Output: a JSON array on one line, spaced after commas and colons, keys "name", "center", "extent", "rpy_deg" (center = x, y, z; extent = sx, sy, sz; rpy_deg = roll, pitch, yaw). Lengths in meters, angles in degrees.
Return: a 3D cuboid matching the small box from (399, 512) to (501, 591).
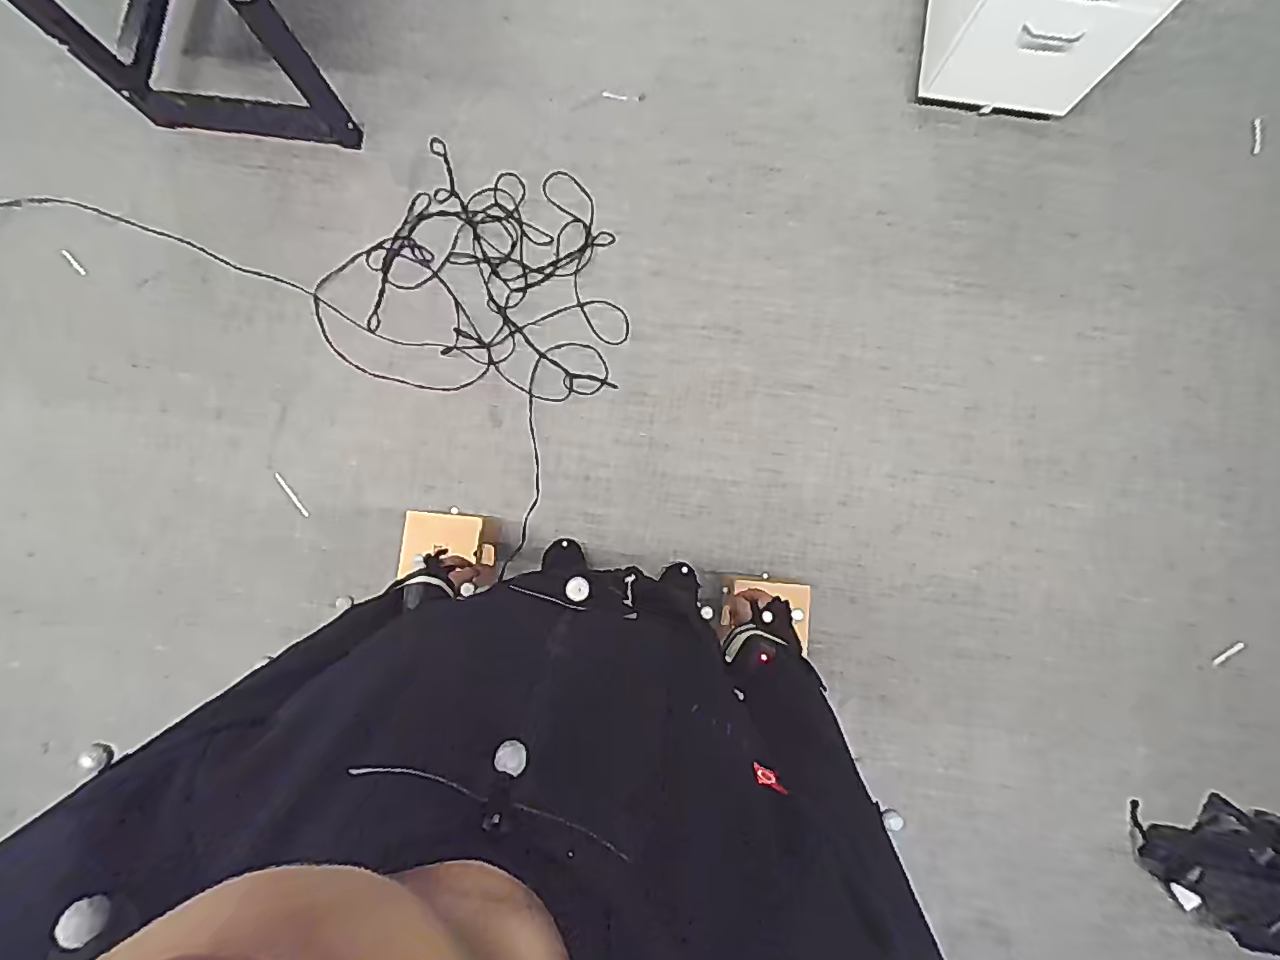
[{"name": "small box", "center": [-0.450, 0.170, 1.300], "extent": [0.179, 0.176, 0.168], "rpy_deg": [5, 84, 0]}]
